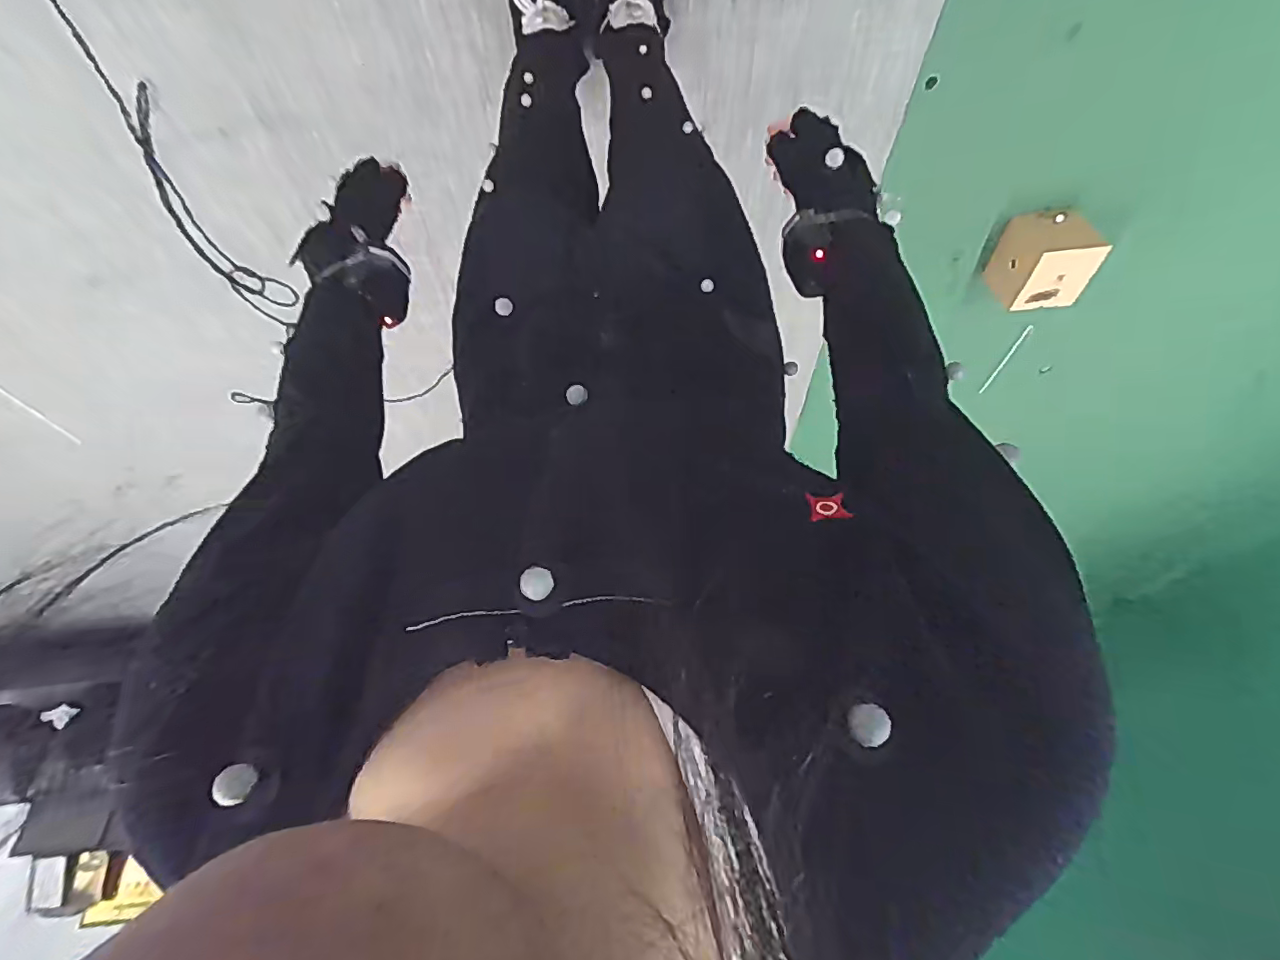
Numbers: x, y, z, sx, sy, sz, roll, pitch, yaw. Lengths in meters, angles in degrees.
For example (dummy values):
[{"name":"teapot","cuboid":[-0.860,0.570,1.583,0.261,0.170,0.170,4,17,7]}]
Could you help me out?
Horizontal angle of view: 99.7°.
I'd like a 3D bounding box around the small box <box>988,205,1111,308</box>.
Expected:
[{"name":"small box","cuboid":[1.037,-0.573,1.392,0.168,0.176,0.179,-6,146,1]}]
